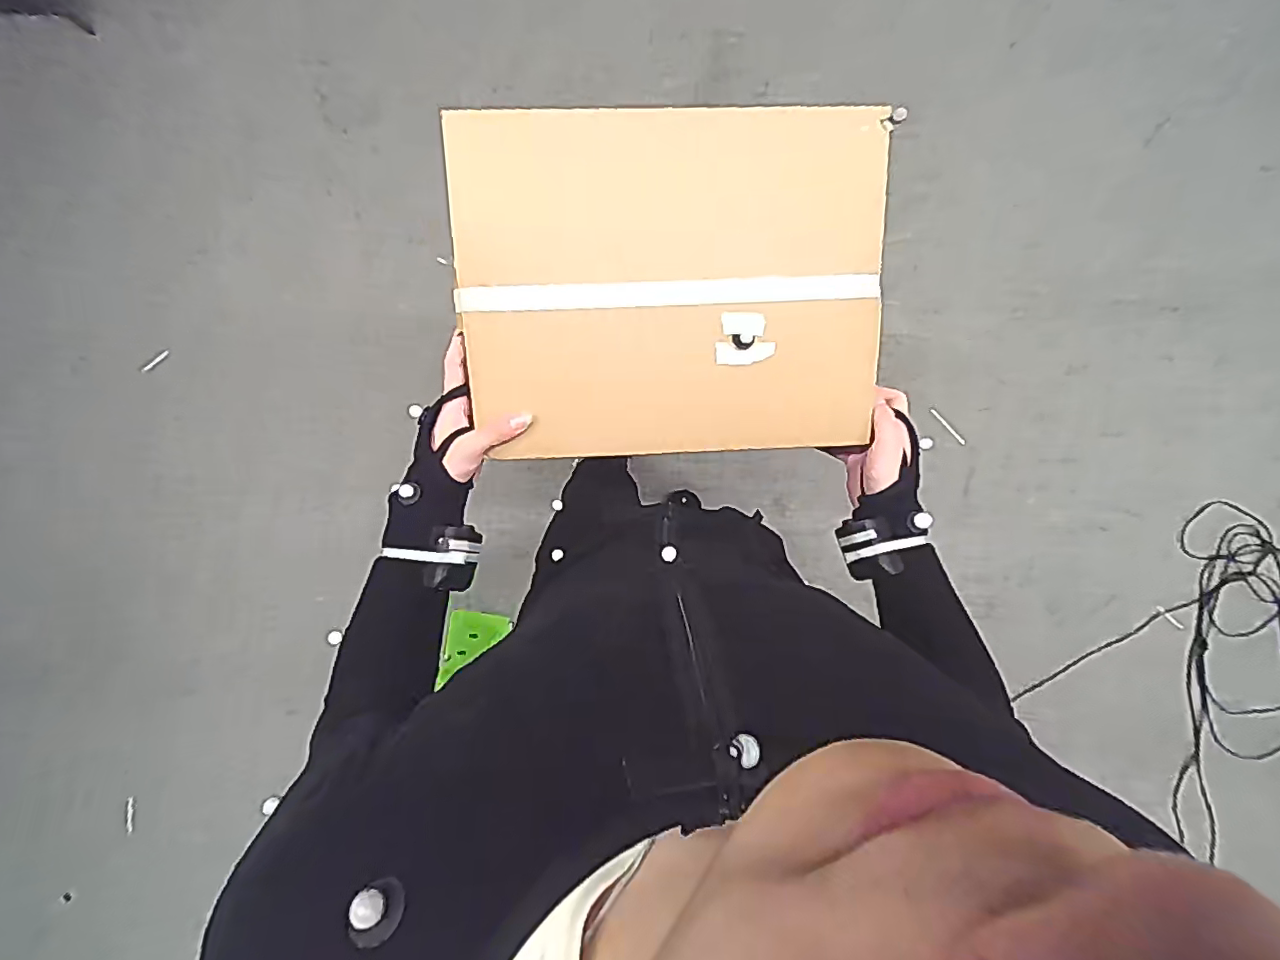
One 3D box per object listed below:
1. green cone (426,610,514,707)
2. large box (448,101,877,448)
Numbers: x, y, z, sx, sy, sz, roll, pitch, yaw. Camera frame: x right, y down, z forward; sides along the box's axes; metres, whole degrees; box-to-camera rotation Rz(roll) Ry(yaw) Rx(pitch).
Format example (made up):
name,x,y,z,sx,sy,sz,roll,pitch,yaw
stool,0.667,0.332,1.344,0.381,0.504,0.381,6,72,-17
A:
name,x,y,z,sx,sy,sz,roll,pitch,yaw
green cone,-0.494,0.510,1.469,0.200,0.368,0.202,9,93,1
large box,0.020,-0.225,0.671,0.408,0.320,0.320,-3,104,-4
